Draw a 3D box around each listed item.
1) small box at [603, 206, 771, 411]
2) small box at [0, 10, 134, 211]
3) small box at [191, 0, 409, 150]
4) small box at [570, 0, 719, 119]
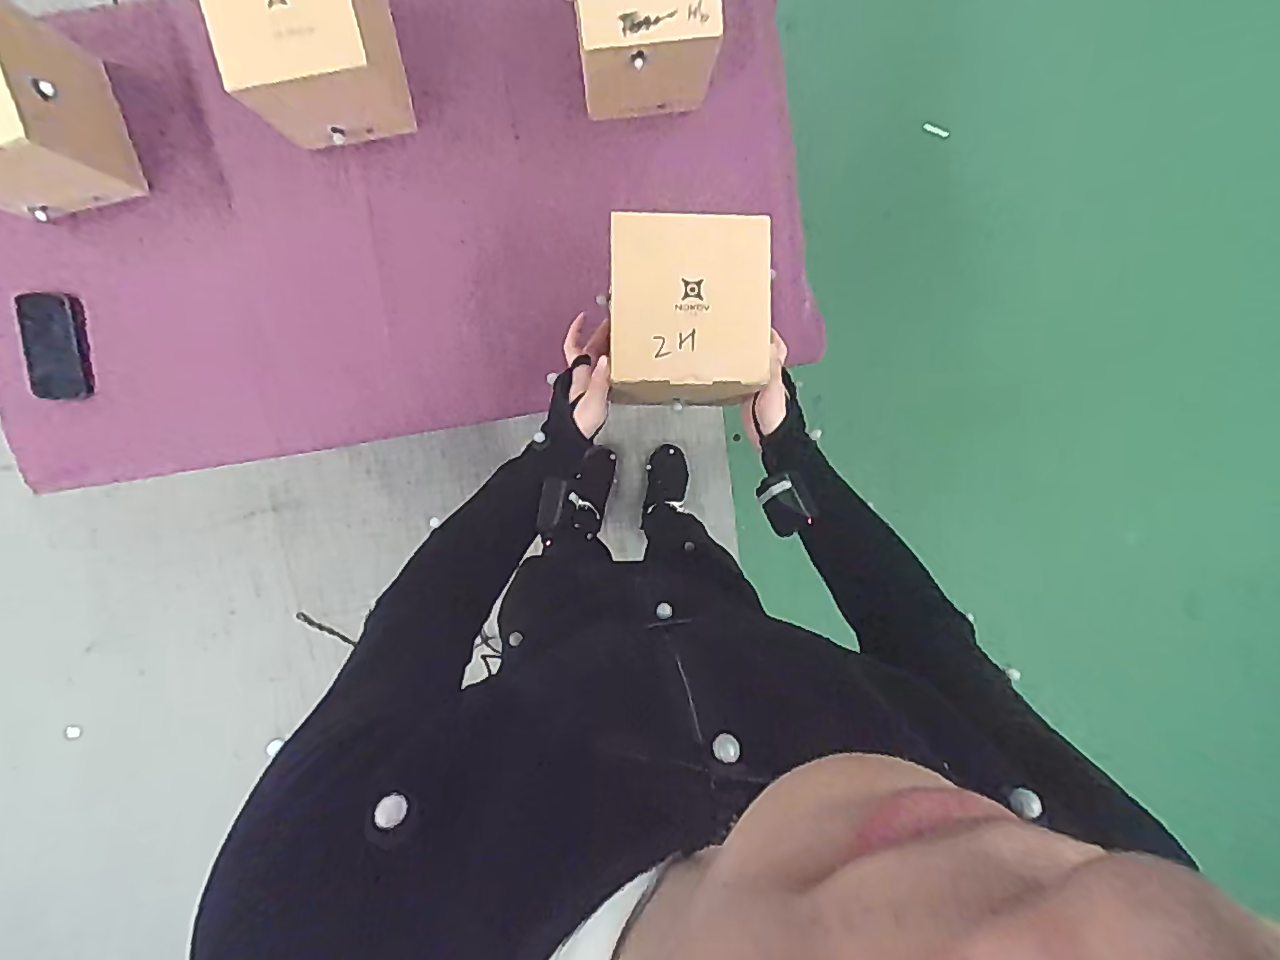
[{"bbox_3d":[0.043,-0.179,0.612,0.168,0.176,0.179,1,90,-2],"label":"small box"},{"bbox_3d":[-0.788,-0.451,0.661,0.168,0.176,0.179,-14,98,-2],"label":"small box"},{"bbox_3d":[-0.412,-0.548,0.669,0.168,0.176,0.179,-10,100,-1],"label":"small box"},{"bbox_3d":[-0.004,-0.598,0.683,0.168,0.176,0.179,-7,99,-1],"label":"small box"}]
